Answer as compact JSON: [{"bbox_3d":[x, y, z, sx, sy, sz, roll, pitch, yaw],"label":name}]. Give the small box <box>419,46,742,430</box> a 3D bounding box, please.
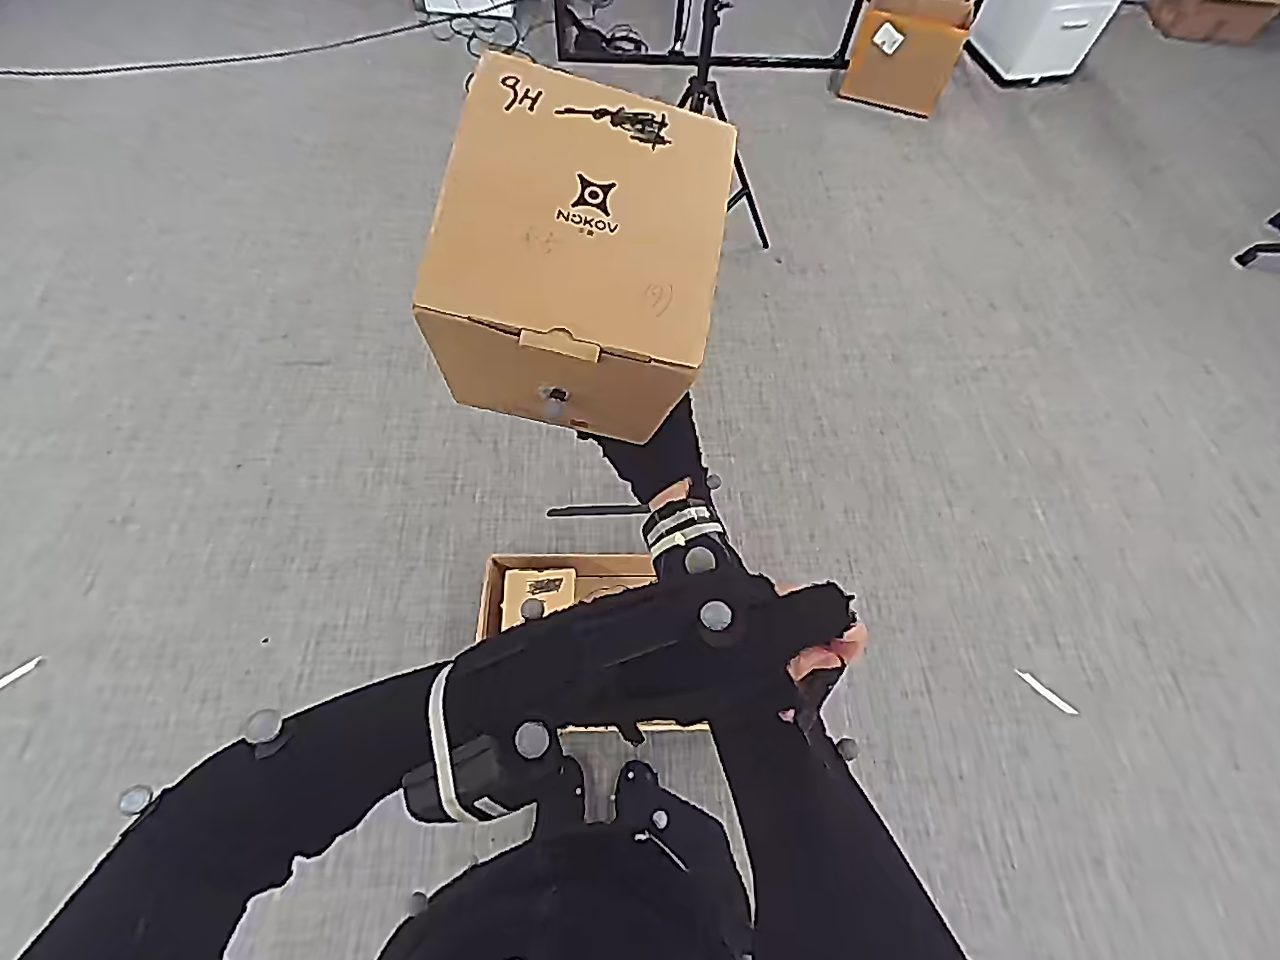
[{"bbox_3d":[-0.041,-0.149,0.397,0.168,0.176,0.179,11,78,-8],"label":"small box"}]
